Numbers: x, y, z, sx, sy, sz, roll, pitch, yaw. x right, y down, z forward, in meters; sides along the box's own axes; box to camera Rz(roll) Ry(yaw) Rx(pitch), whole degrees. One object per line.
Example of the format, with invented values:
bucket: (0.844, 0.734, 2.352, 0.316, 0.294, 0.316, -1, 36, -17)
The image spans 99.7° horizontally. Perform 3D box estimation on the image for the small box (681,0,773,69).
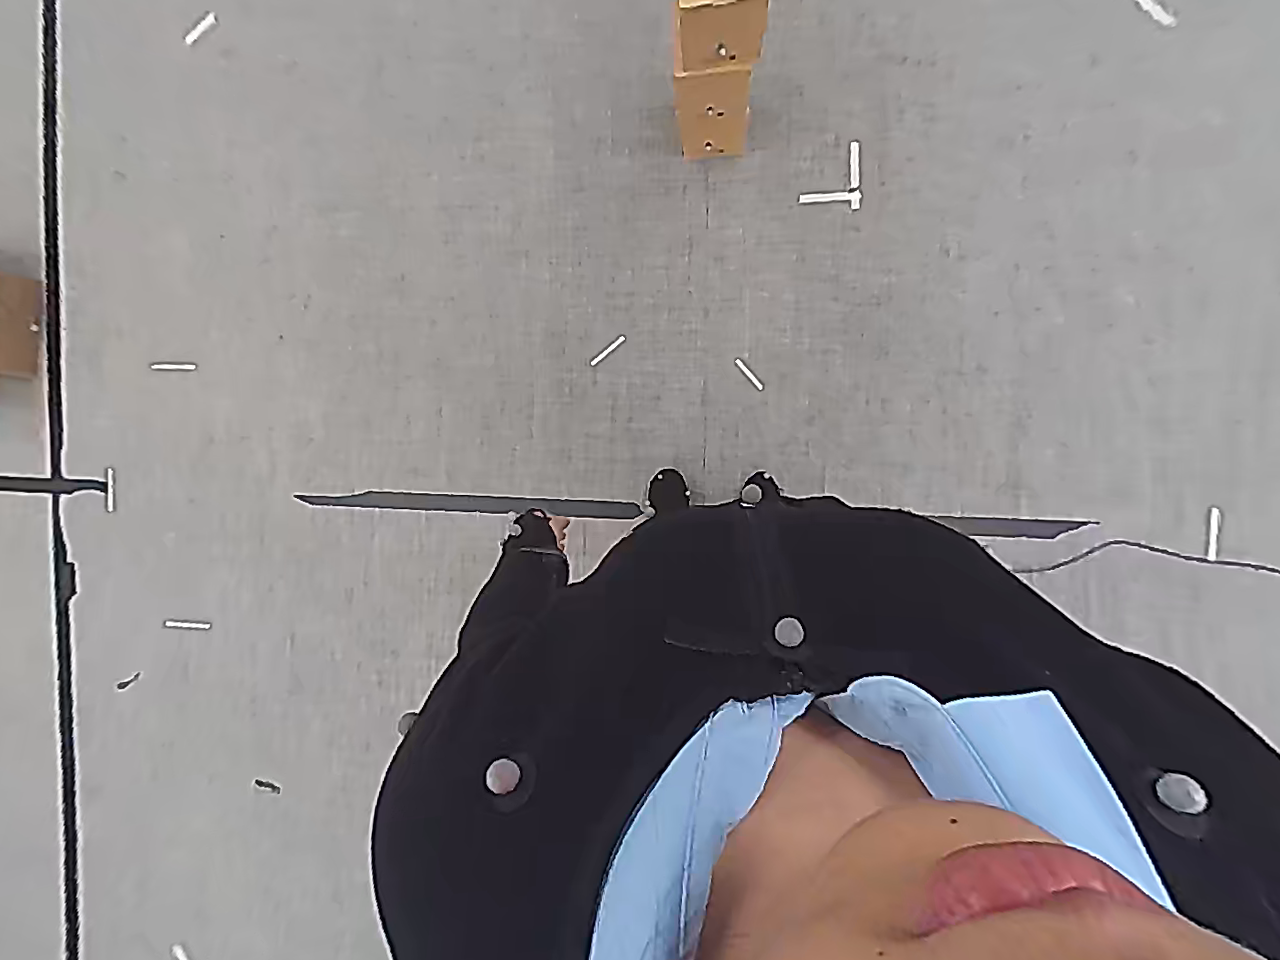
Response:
small box: (0.164, -0.960, 1.058, 0.168, 0.176, 0.179, -4, 92, 7)

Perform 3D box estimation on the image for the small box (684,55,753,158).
small box: (0.197, -0.963, 1.386, 0.168, 0.176, 0.179, -1, 92, 6)
